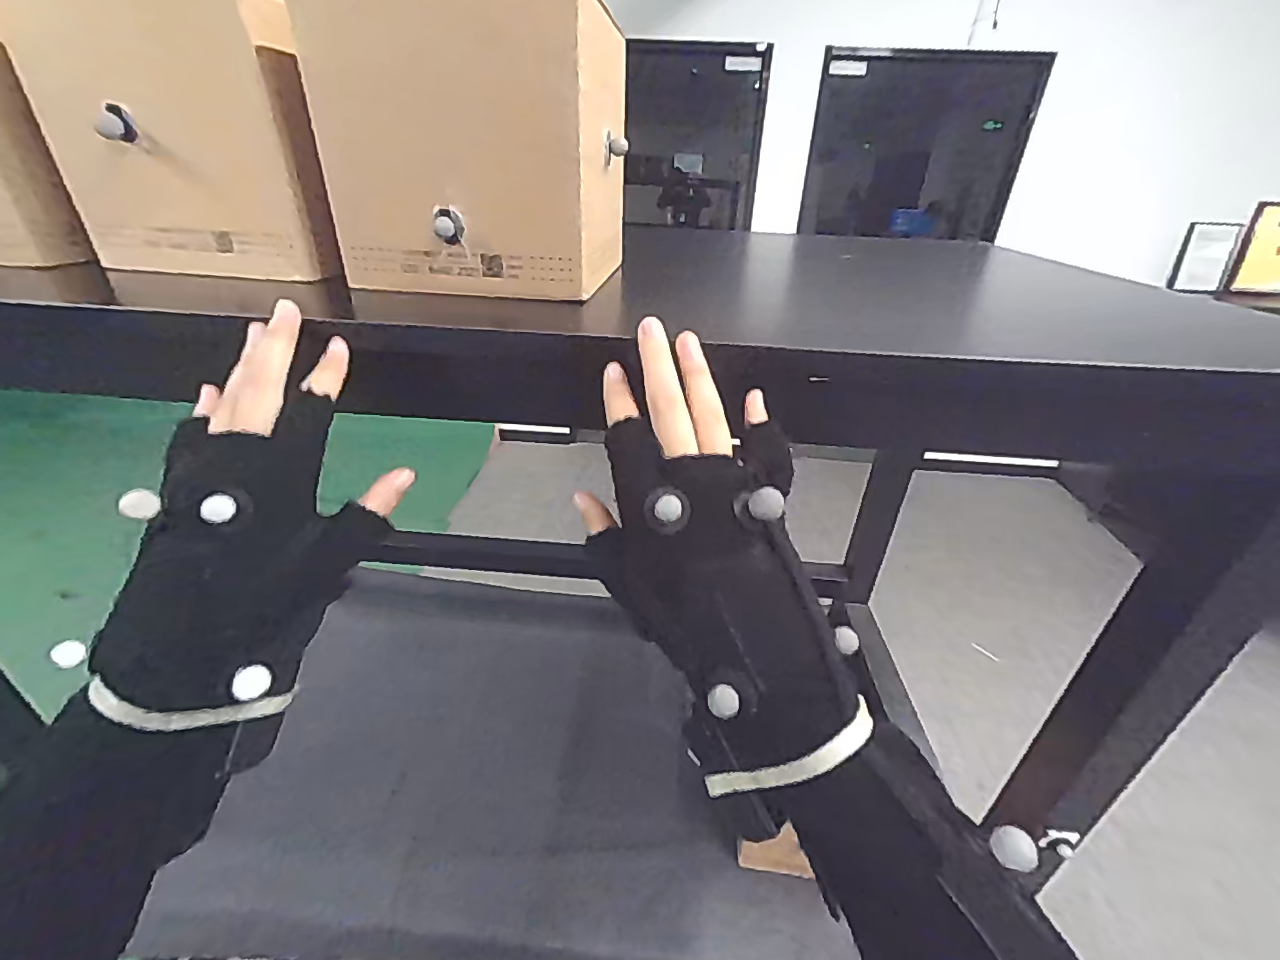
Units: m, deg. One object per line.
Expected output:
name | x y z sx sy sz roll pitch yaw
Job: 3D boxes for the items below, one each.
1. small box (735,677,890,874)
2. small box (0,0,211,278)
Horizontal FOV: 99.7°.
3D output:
small box | 0.227 0.412 0.759 0.168 0.176 0.179 6 30 6
small box | -0.492 -0.269 0.429 0.168 0.176 0.179 5 31 4
